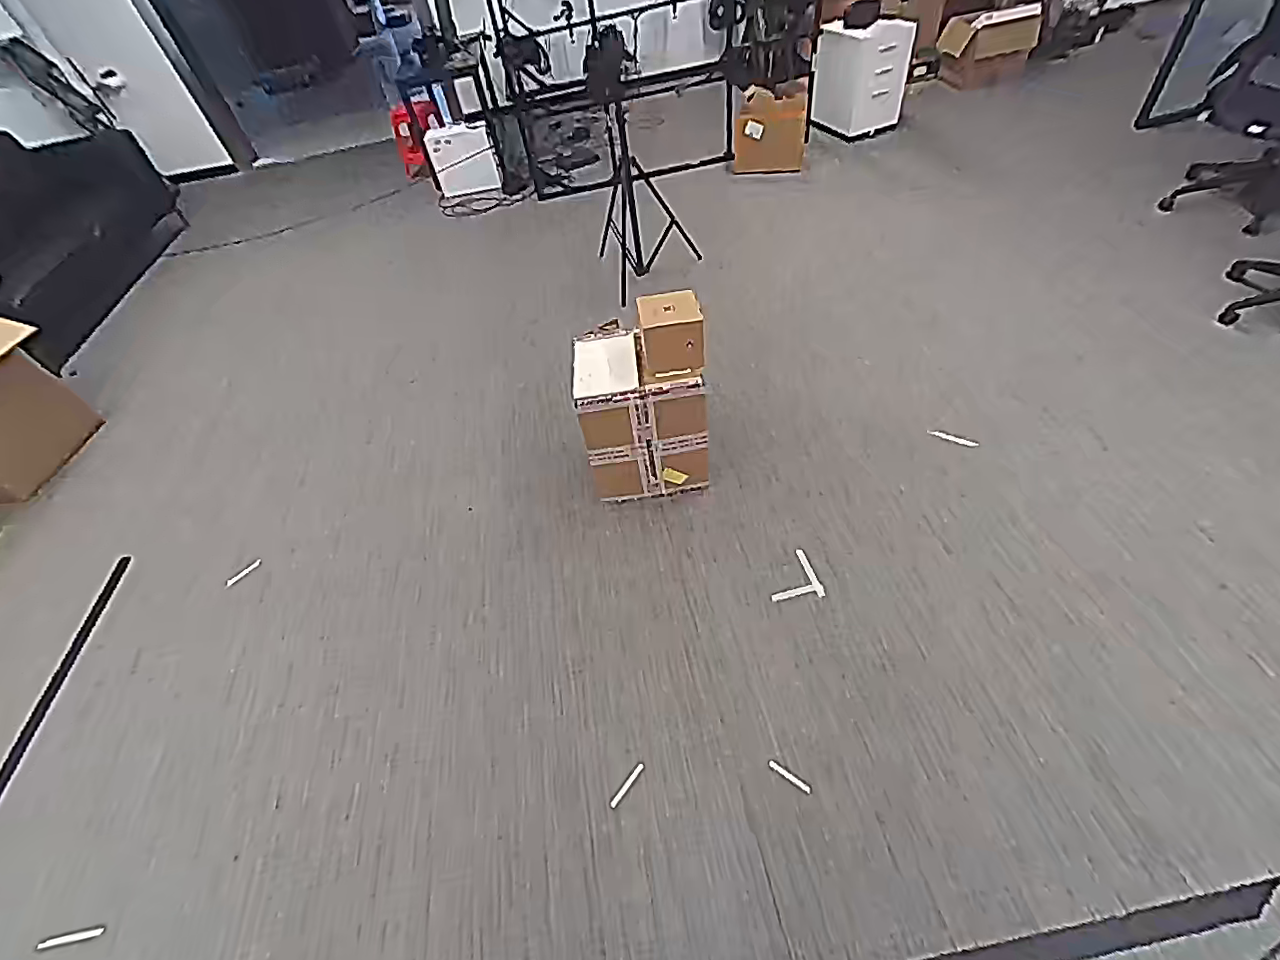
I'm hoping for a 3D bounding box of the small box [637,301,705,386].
[{"bbox_3d":[0.090,-0.402,1.600,0.179,0.176,0.168,-9,49,0],"label":"small box"}]
